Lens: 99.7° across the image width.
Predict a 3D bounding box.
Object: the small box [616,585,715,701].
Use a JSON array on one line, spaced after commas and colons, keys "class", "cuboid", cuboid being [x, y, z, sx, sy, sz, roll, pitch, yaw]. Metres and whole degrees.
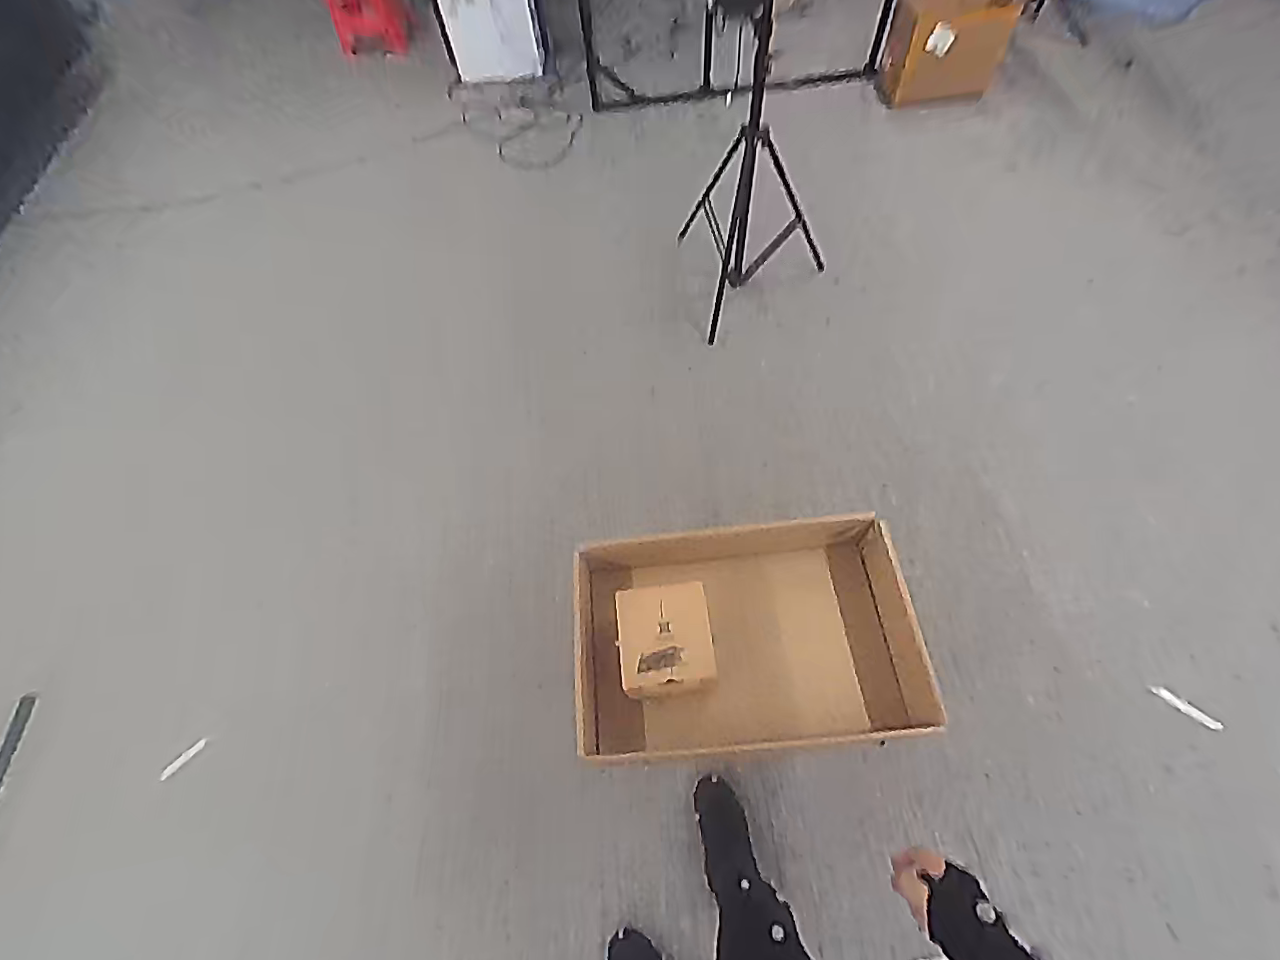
[{"class": "small box", "cuboid": [0.050, 0.316, 1.027, 0.168, 0.176, 0.179, -7, 60, 2]}]
